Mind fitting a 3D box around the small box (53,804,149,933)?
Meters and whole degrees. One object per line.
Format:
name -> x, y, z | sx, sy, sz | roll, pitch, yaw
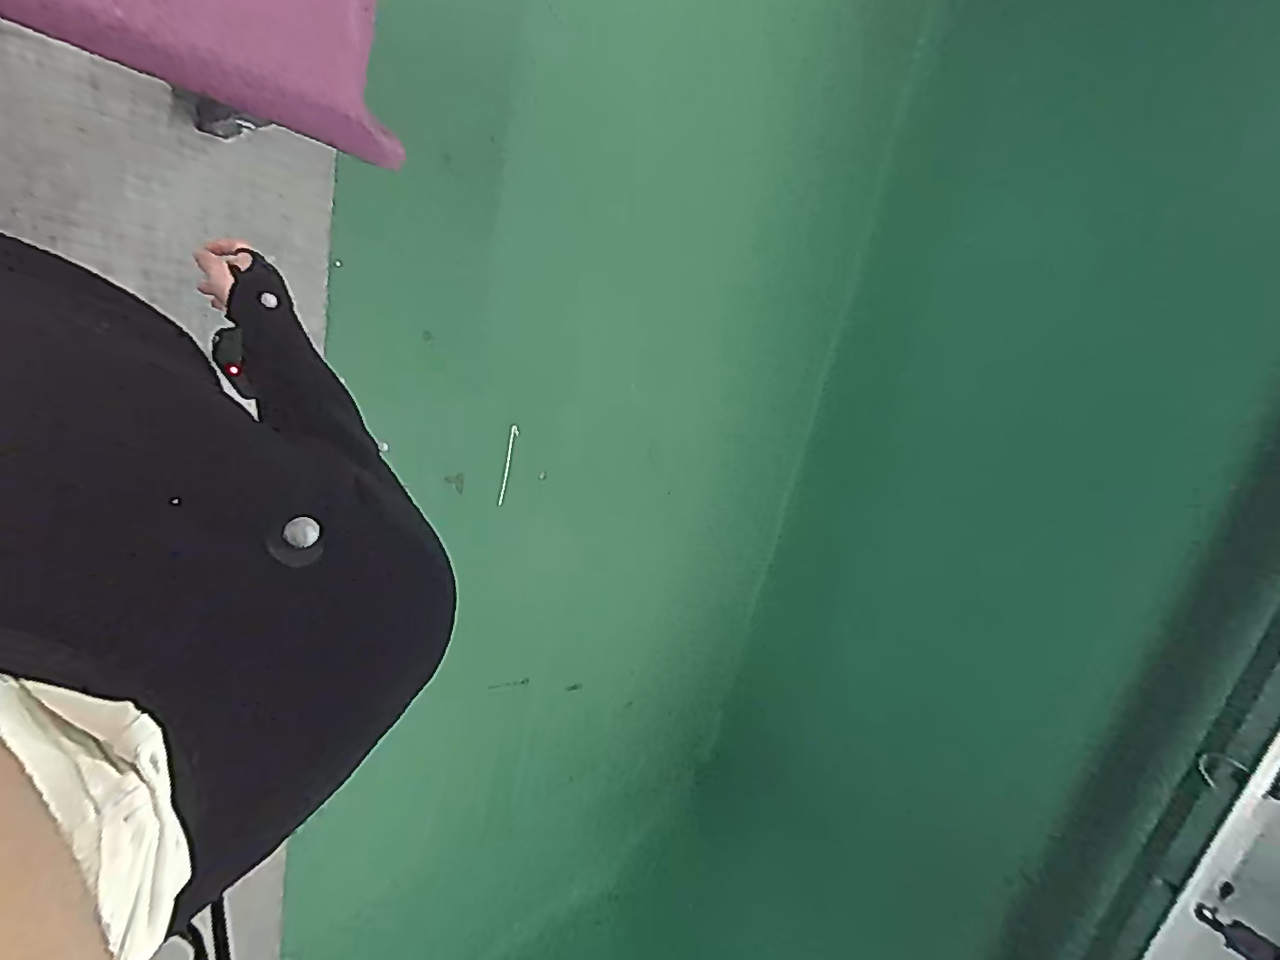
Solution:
small box -> -1.398, 0.996, 1.403 | 0.168, 0.176, 0.179 | -3, 113, -49
